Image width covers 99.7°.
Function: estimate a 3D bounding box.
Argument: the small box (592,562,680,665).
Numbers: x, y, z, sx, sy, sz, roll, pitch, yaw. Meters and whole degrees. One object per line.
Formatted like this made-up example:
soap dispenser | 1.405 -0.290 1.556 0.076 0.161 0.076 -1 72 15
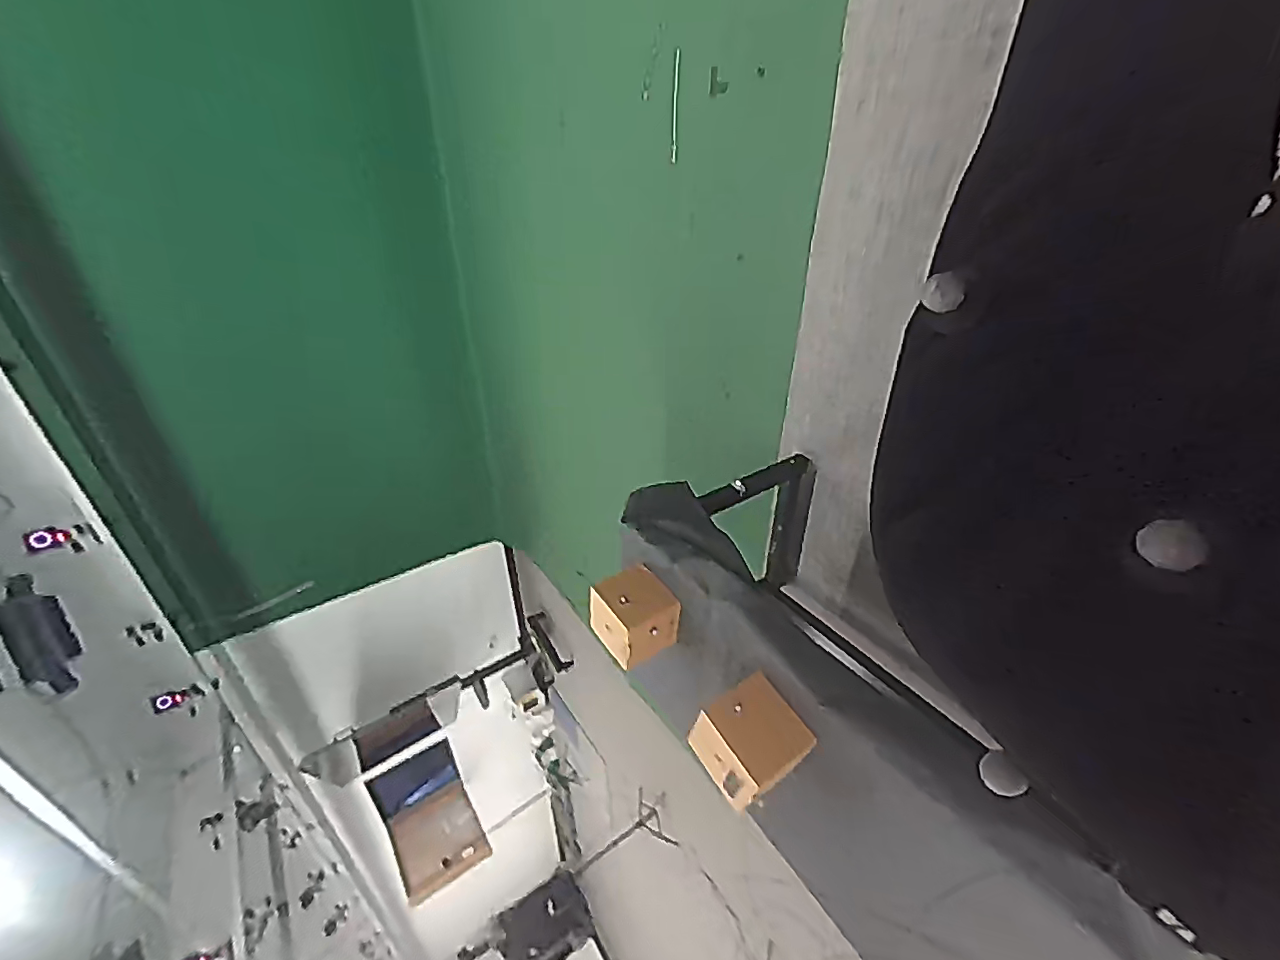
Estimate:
small box | -0.011 0.346 1.435 0.179 0.176 0.168 42 140 40
